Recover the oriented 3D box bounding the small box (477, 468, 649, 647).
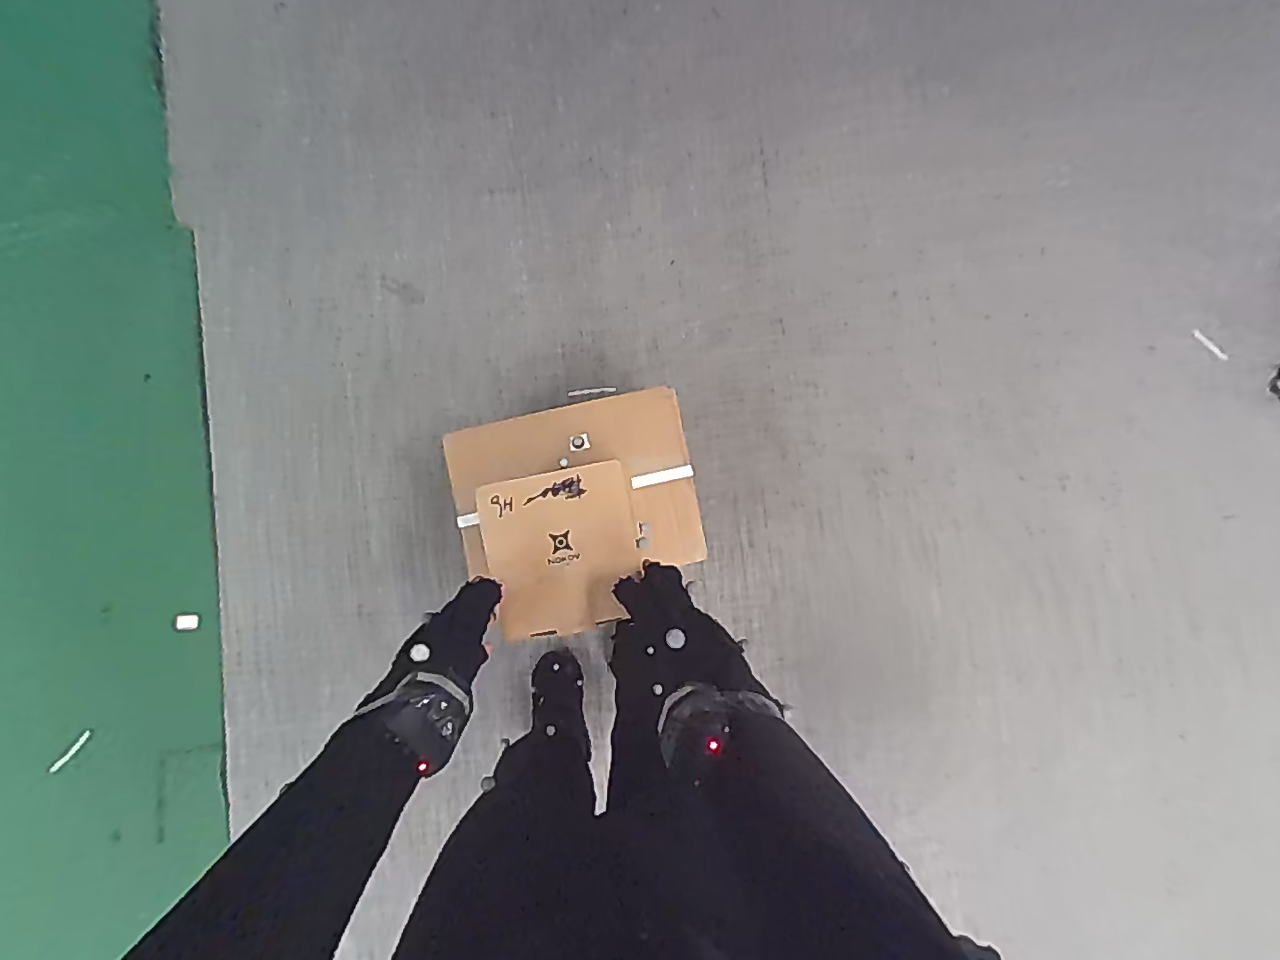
[{"bbox_3d":[-0.082,0.085,0.669,0.168,0.176,0.179,-11,89,0],"label":"small box"}]
